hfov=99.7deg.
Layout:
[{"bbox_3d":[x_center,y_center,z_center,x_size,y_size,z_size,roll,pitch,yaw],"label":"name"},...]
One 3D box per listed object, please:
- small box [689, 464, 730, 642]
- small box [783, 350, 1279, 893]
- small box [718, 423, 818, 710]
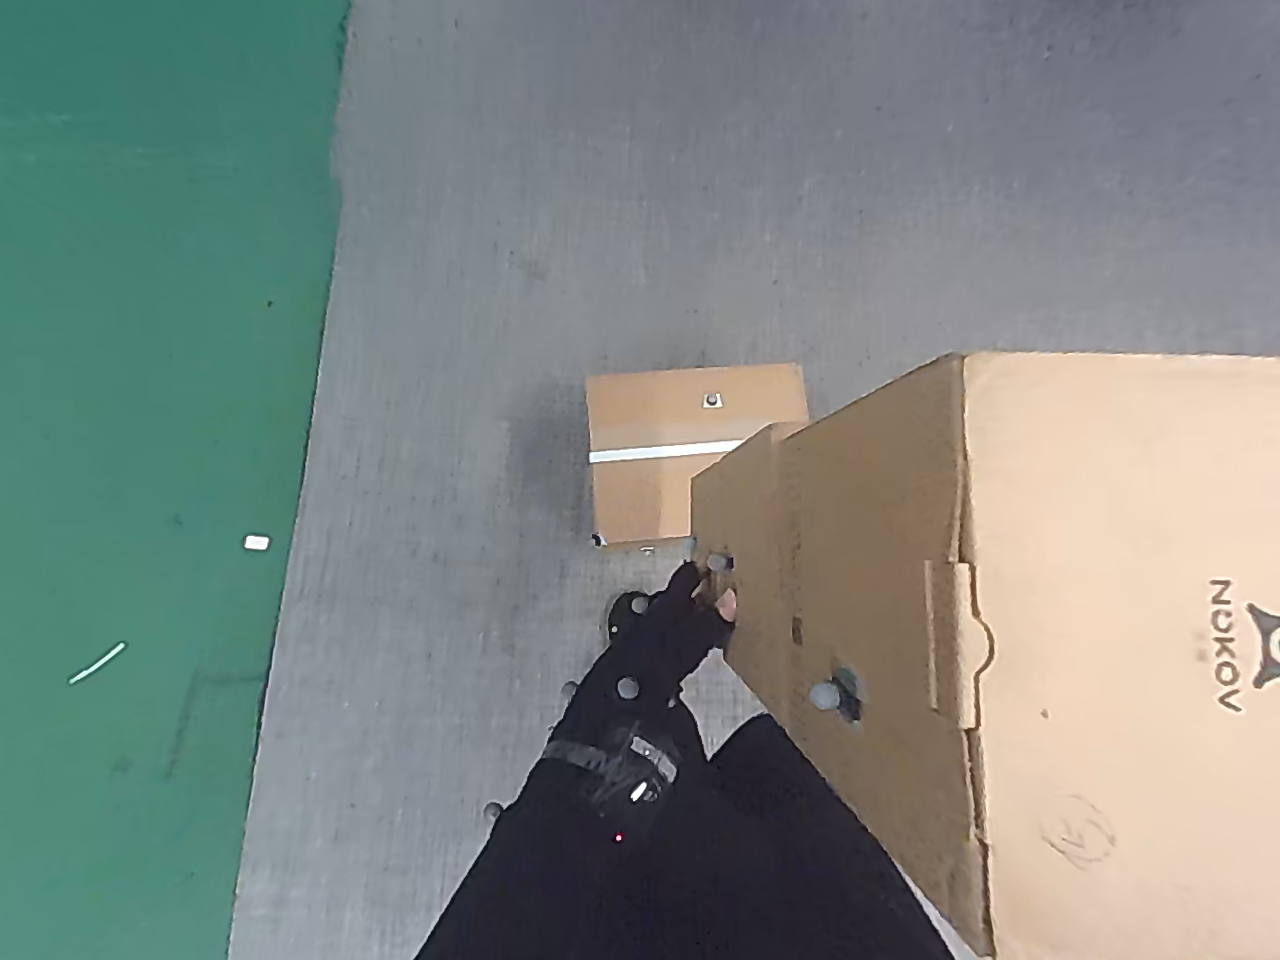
[{"bbox_3d":[0.151,0.074,0.573,0.179,0.176,0.168,1,84,-2],"label":"small box"},{"bbox_3d":[0.171,0.048,0.248,0.179,0.176,0.168,0,85,-3],"label":"small box"},{"bbox_3d":[0.156,0.057,0.411,0.168,0.176,0.179,-1,84,-3],"label":"small box"}]
